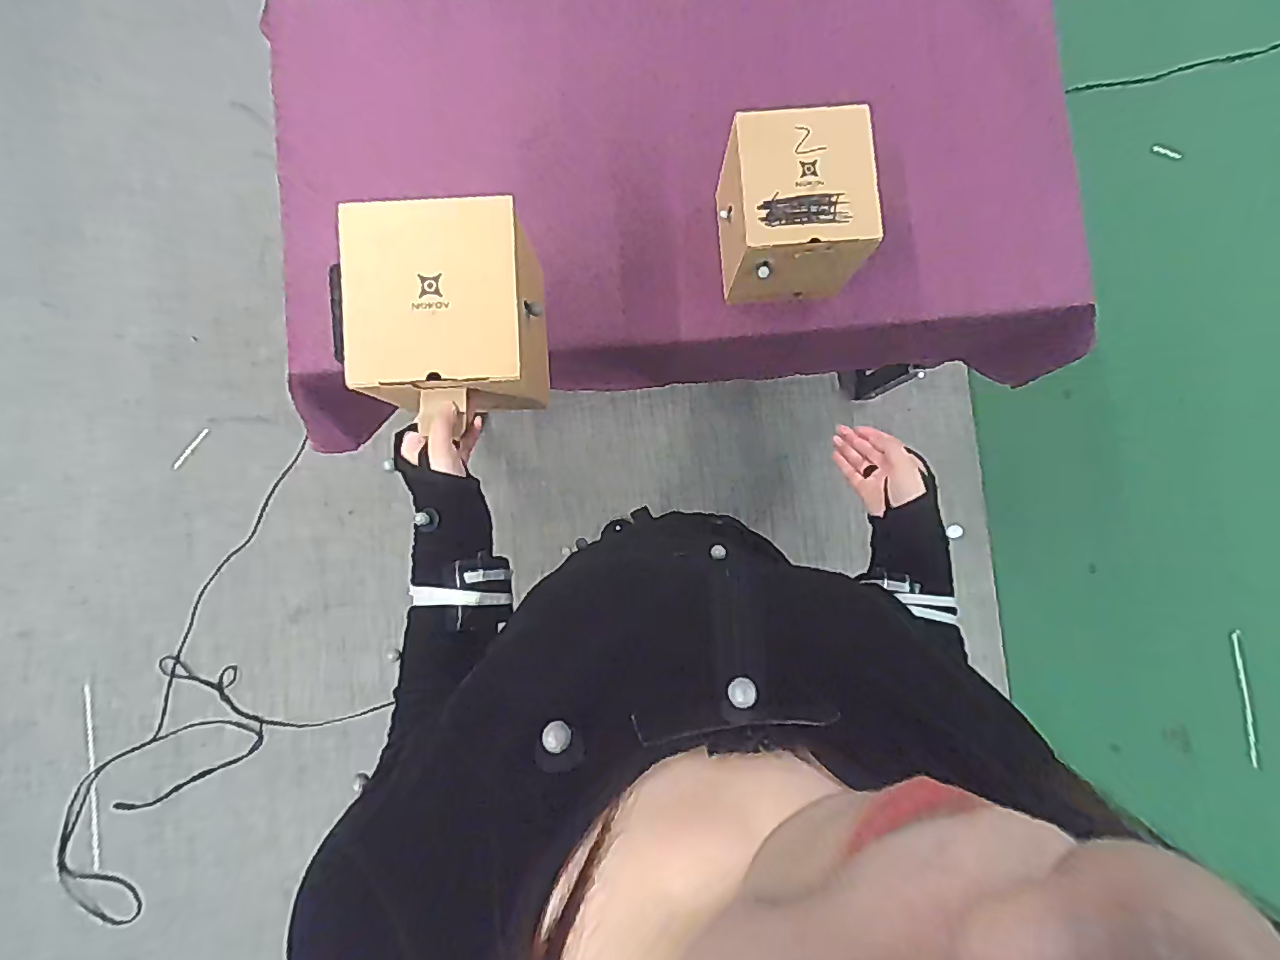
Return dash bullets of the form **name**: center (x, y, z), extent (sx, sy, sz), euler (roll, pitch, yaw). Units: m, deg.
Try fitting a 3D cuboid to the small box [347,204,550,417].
- **small box**: center (-0.193, -0.170, 0.585), extent (0.168, 0.176, 0.179), euler (-3, 89, -1)
